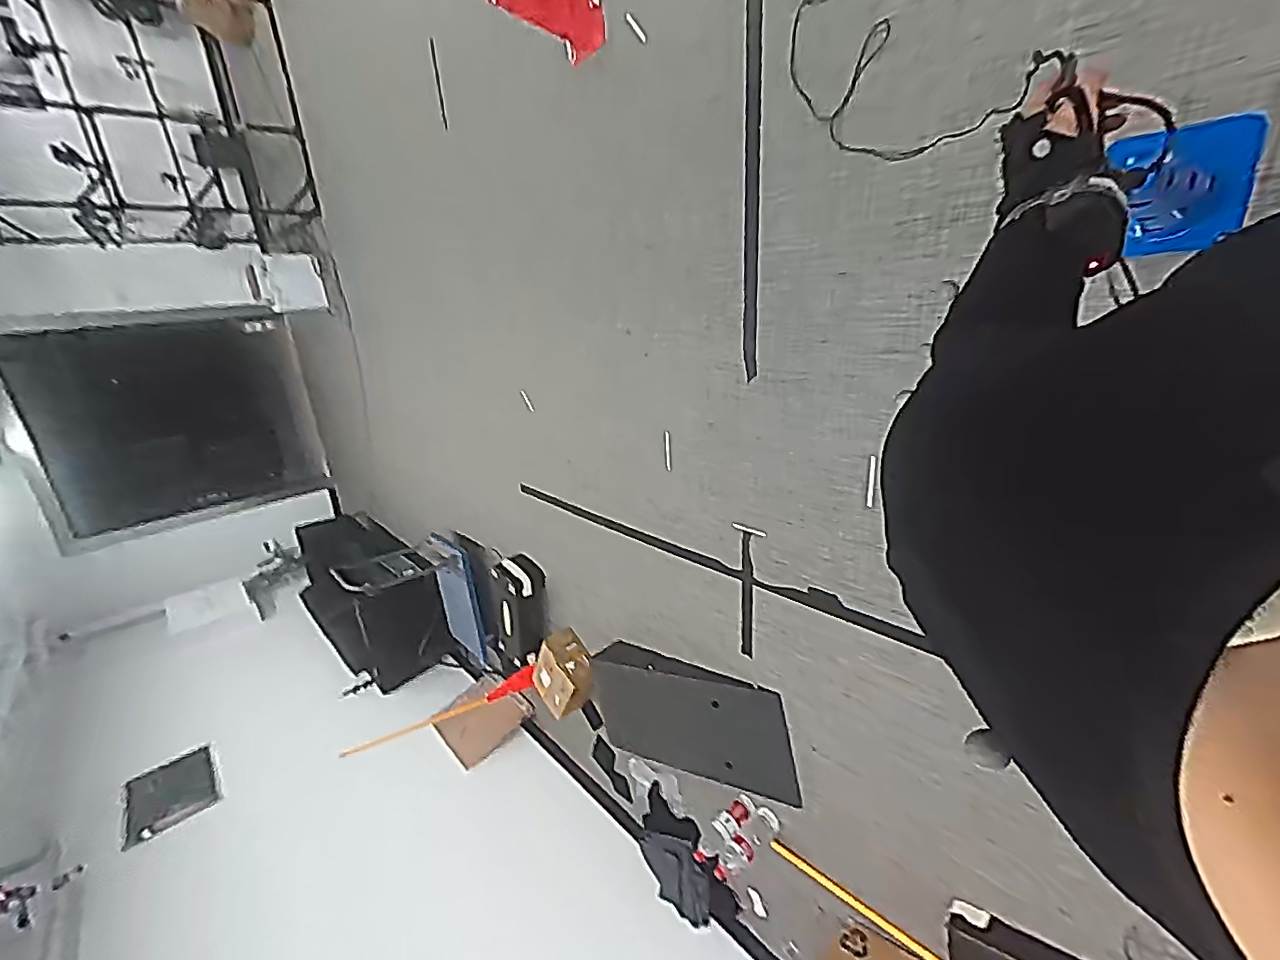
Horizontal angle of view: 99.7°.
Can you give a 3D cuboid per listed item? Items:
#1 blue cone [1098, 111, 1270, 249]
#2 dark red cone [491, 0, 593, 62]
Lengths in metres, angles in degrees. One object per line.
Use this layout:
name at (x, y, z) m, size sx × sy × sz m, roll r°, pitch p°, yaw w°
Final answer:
blue cone at (0.792, -0.453, 0.816) m, size 0.192 × 0.380 × 0.193 m, roll 17°, pitch 119°, yaw 44°
dark red cone at (-0.341, -1.487, 1.680) m, size 0.201 × 0.394 × 0.202 m, roll 6°, pitch 110°, yaw 48°
